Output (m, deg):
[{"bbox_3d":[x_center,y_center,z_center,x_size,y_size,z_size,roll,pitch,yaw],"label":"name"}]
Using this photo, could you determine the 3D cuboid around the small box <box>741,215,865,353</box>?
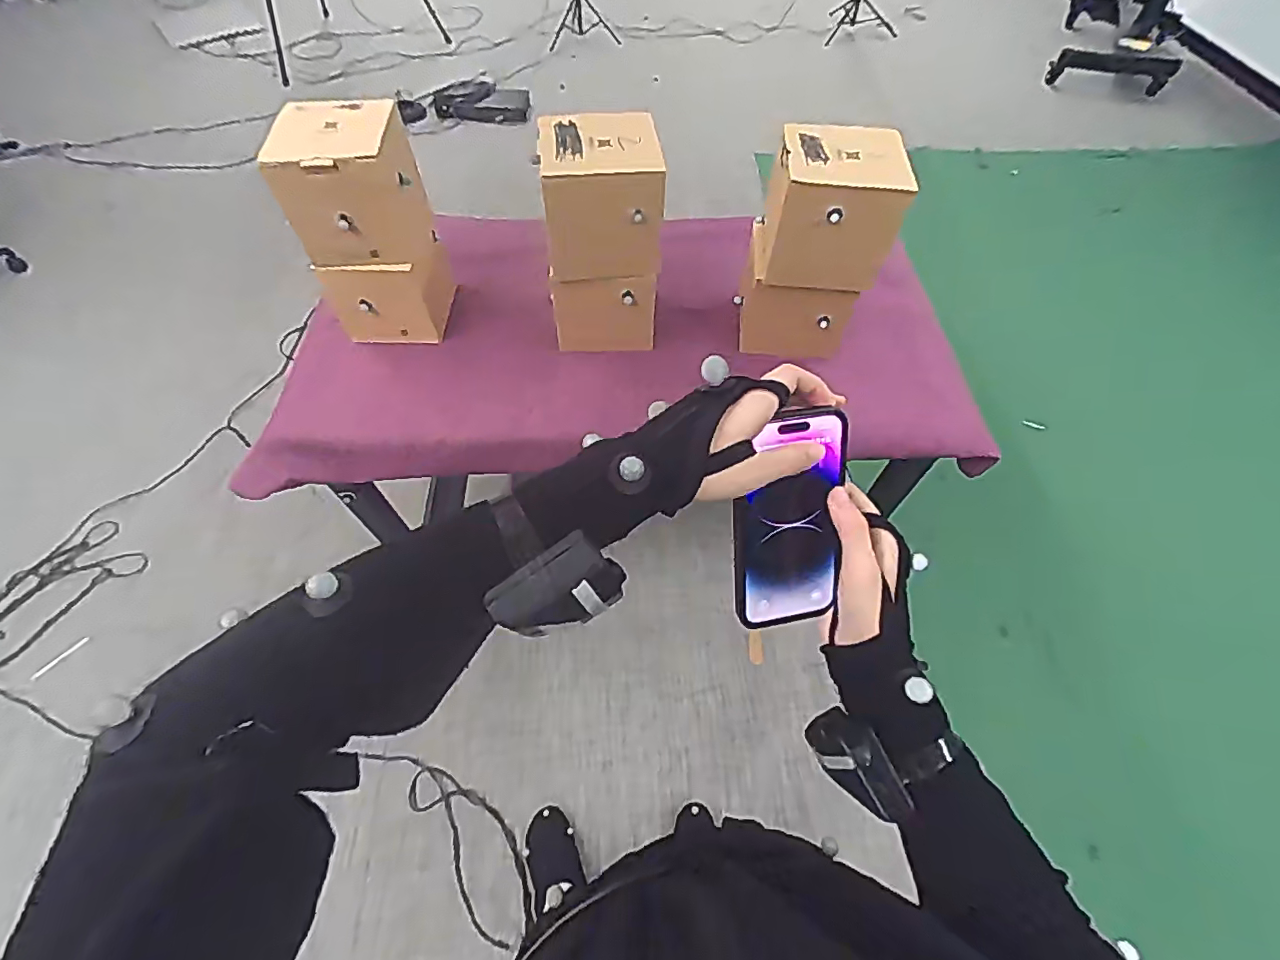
[{"bbox_3d":[0.284,-0.349,0.976,0.179,0.176,0.168,5,58,4],"label":"small box"}]

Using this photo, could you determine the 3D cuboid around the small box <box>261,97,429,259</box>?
[{"bbox_3d":[-0.448,-0.468,0.855,0.168,0.176,0.179,-4,59,-3],"label":"small box"}]

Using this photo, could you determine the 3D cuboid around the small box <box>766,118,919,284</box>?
[{"bbox_3d":[0.292,-0.423,0.829,0.179,0.176,0.168,5,58,2],"label":"small box"}]

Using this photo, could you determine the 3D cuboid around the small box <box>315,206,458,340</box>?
[{"bbox_3d":[-0.448,-0.374,0.990,0.168,0.176,0.179,0,58,0],"label":"small box"}]

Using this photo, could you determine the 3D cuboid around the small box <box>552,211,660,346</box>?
[{"bbox_3d":[-0.057,-0.359,0.980,0.179,0.176,0.168,0,58,0],"label":"small box"}]
